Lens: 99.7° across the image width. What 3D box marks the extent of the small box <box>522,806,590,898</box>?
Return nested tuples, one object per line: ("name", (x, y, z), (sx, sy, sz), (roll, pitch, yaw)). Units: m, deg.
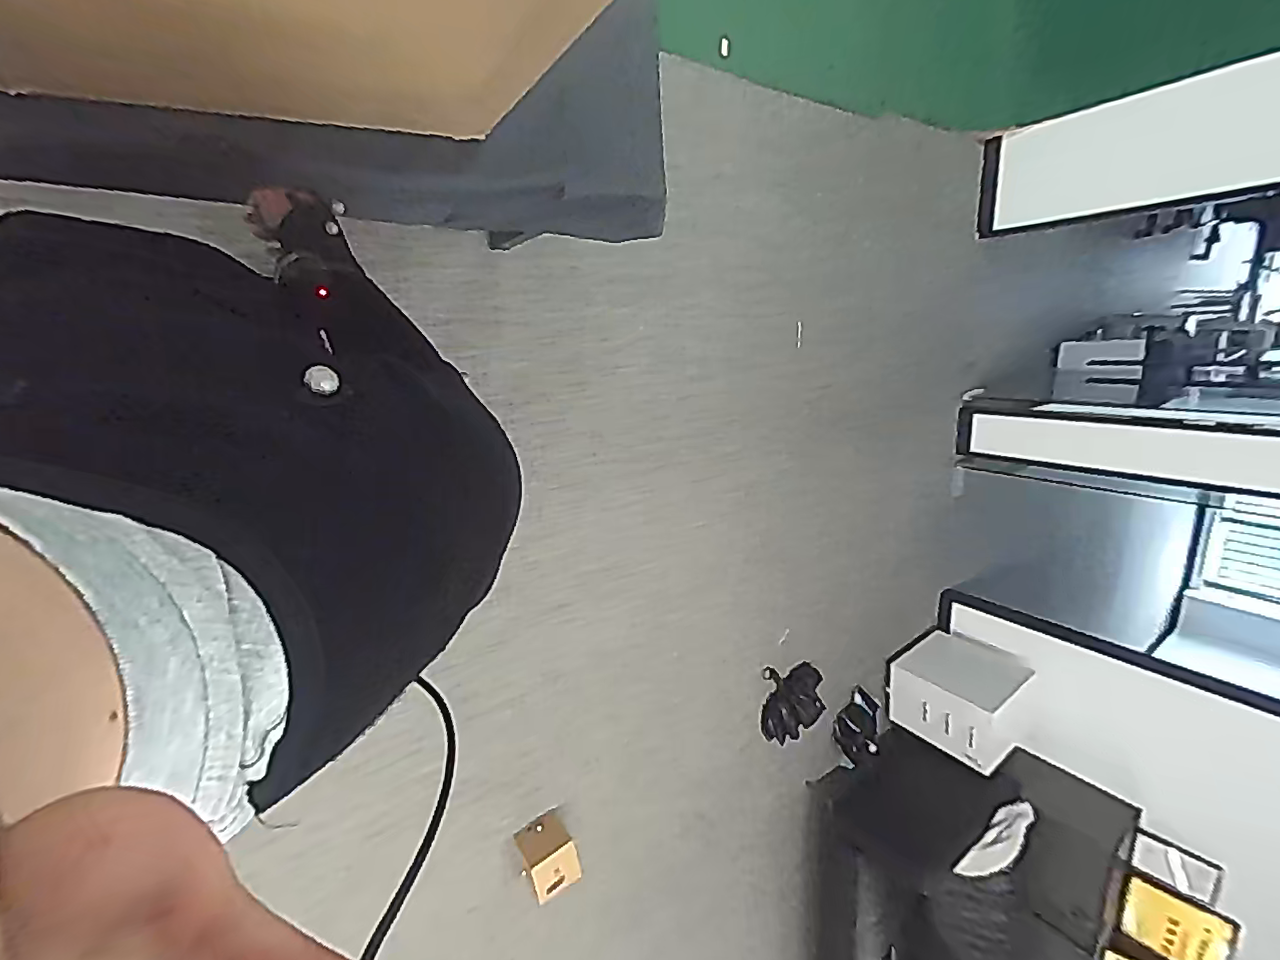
("small box", (-0.303, 1.327, 1.940), (0.168, 0.176, 0.179), (-21, 111, -31))
